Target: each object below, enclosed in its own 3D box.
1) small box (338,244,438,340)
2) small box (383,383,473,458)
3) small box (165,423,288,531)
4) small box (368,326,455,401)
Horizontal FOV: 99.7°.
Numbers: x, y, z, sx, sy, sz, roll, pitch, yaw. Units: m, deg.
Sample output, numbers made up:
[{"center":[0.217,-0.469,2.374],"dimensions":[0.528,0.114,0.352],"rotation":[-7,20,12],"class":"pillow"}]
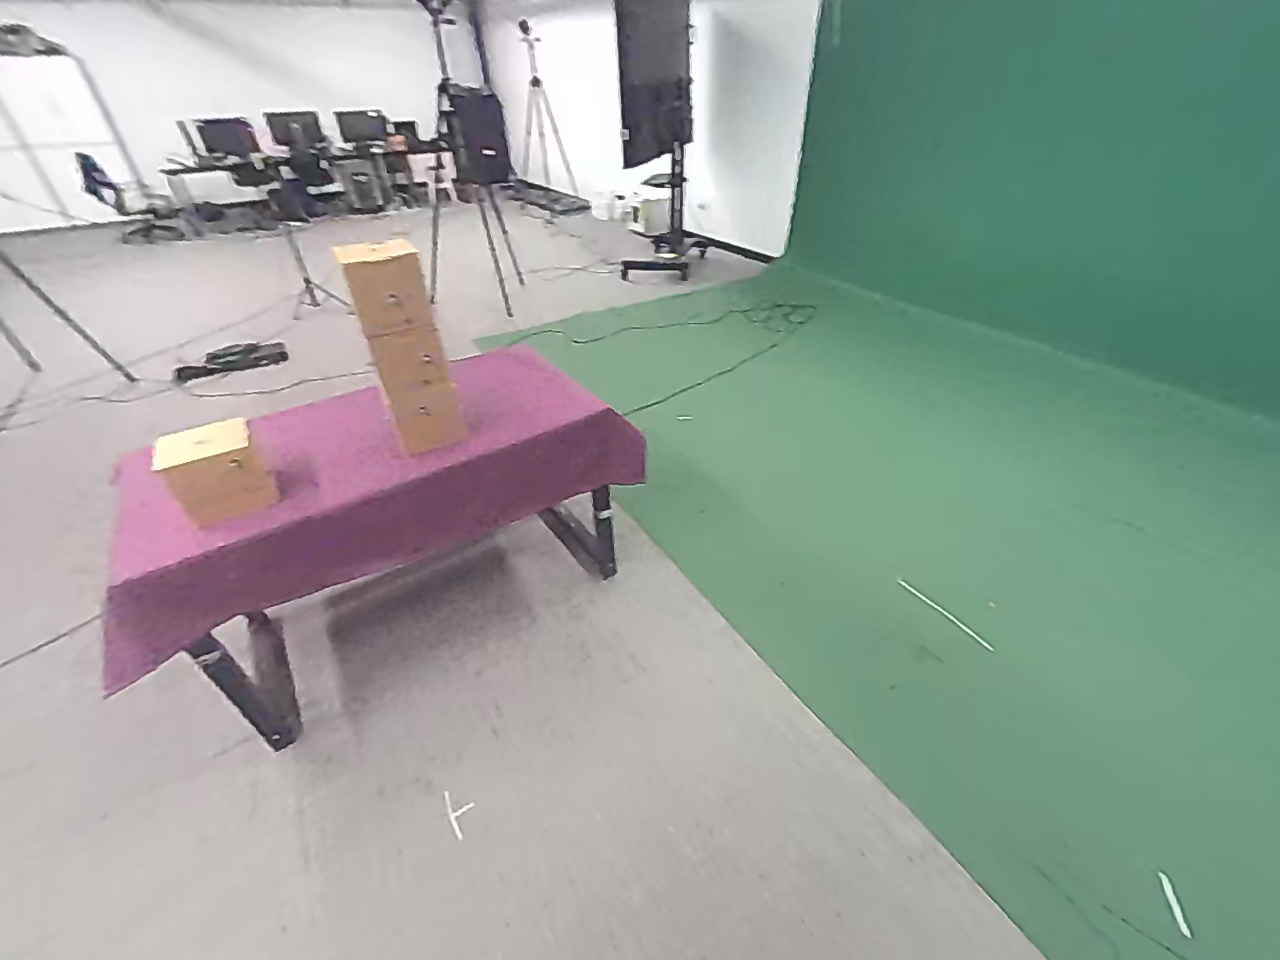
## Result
[{"center":[-0.603,-0.449,1.300],"dimensions":[0.168,0.176,0.179],"rotation":[-20,41,-23],"class":"small box"},{"center":[-0.581,-0.183,1.490],"dimensions":[0.179,0.176,0.168],"rotation":[-20,41,-21],"class":"small box"},{"center":[-0.975,-0.007,1.285],"dimensions":[0.179,0.176,0.168],"rotation":[-22,41,-25],"class":"small box"},{"center":[-0.593,-0.318,1.399],"dimensions":[0.168,0.176,0.179],"rotation":[-20,39,-22],"class":"small box"}]
